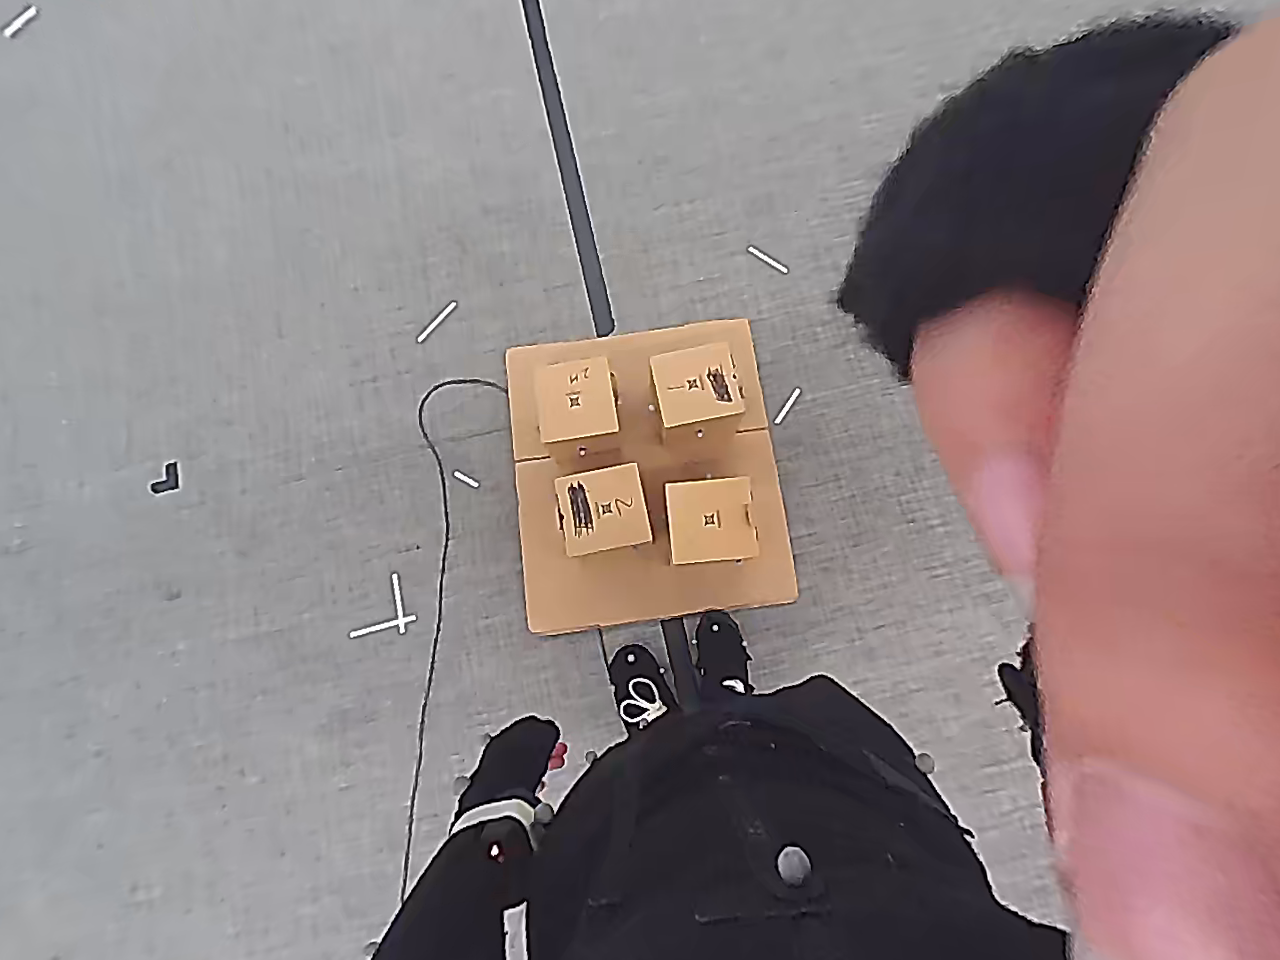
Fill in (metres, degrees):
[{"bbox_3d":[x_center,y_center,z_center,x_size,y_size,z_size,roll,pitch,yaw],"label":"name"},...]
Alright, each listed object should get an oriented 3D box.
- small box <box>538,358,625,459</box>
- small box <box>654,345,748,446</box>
[{"bbox_3d":[-0.127,-0.152,1.223,0.168,0.176,0.179,-8,78,-1],"label":"small box"},{"bbox_3d":[0.130,-0.184,1.221,0.179,0.176,0.168,-10,79,0],"label":"small box"}]
